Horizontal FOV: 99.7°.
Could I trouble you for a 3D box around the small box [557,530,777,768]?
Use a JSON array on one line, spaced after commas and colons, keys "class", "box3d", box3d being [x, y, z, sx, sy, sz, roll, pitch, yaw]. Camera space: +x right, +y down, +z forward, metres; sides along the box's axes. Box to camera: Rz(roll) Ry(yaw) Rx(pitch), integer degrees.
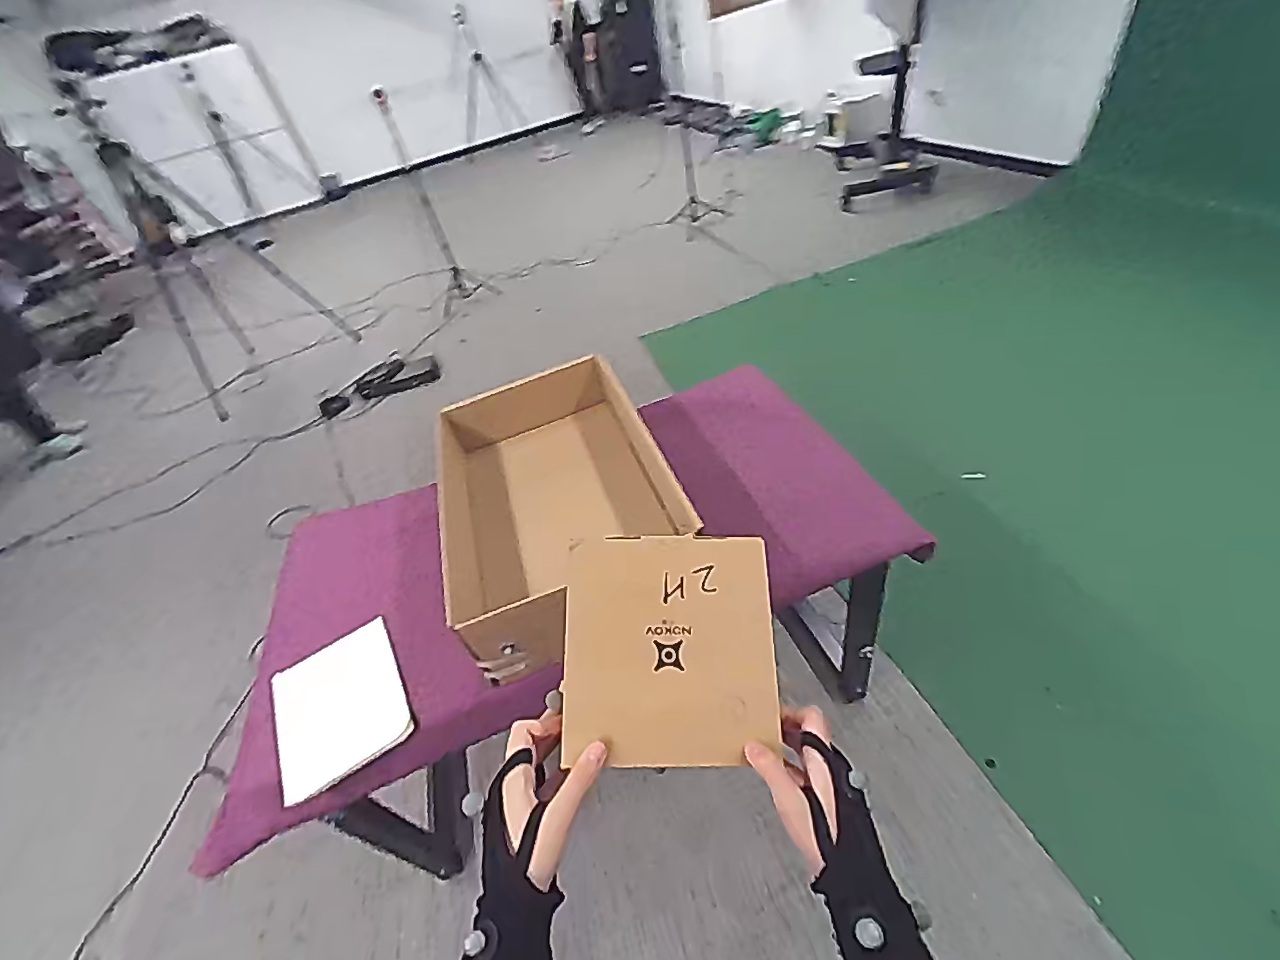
[{"class": "small box", "box3d": [0.022, 0.153, 0.497, 0.168, 0.176, 0.179, 2, 69, -1]}]
